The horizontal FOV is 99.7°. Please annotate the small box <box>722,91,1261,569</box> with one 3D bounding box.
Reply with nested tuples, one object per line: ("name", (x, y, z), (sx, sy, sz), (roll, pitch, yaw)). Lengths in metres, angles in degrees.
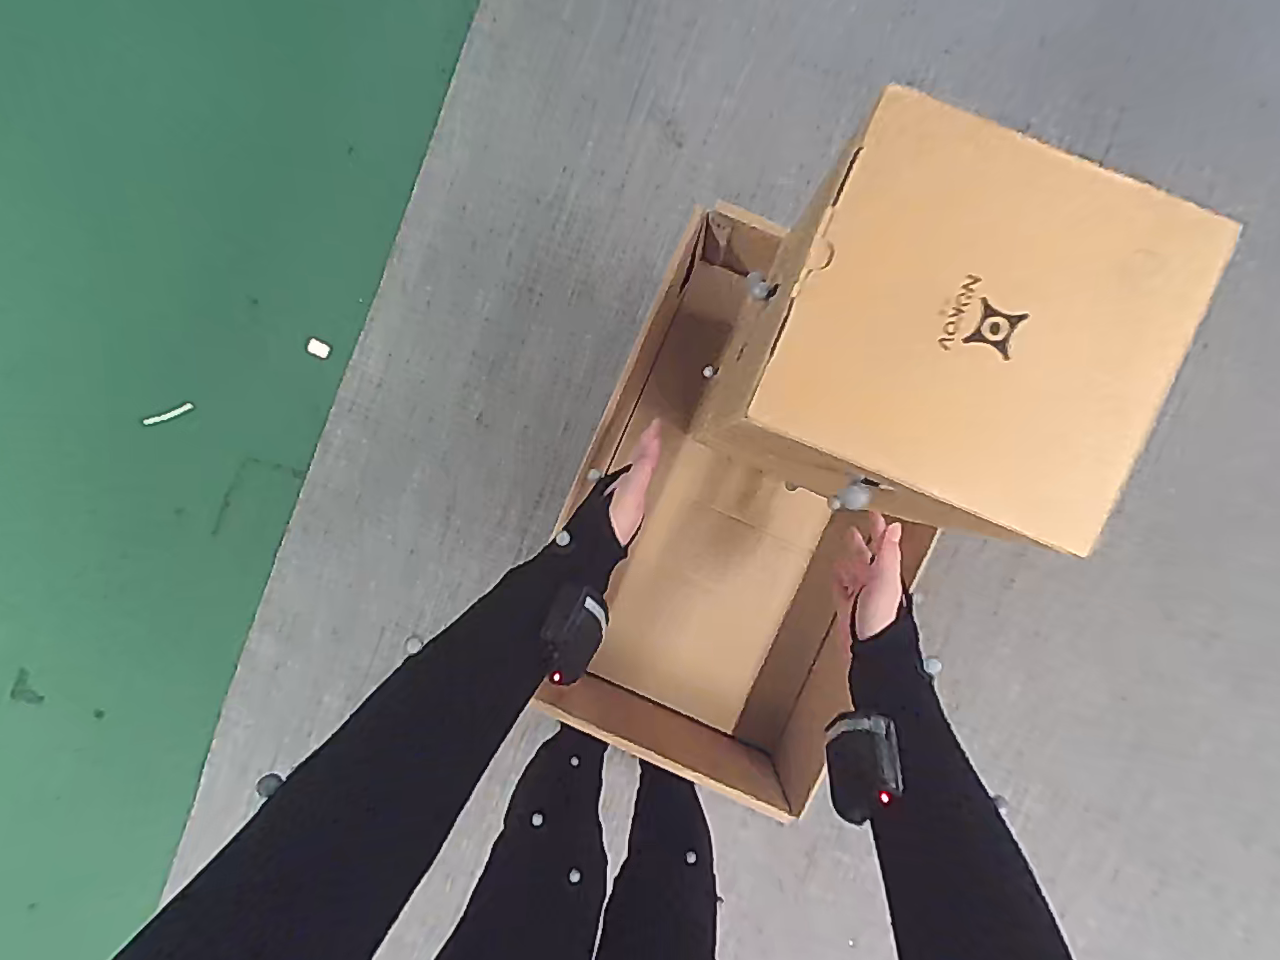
("small box", (0.166, -0.070, 0.323), (0.179, 0.176, 0.168), (23, 93, 1))
